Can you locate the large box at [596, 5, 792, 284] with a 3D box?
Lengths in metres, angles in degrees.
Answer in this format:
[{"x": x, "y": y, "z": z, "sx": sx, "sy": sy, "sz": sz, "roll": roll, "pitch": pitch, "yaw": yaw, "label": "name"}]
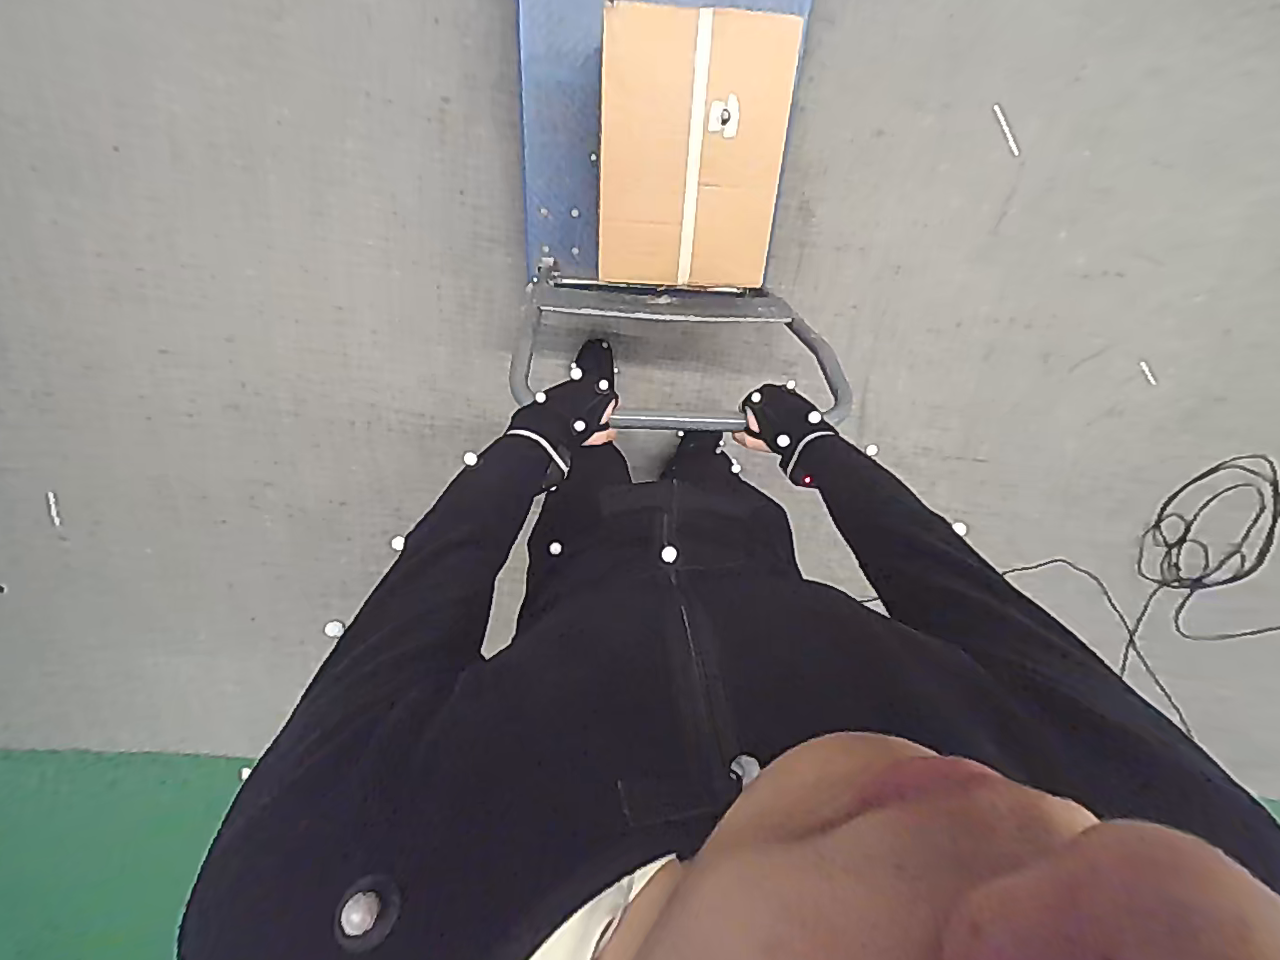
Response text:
[{"x": 0.072, "y": -0.617, "z": 1.055, "sx": 0.320, "sy": 0.320, "sz": 0.408, "roll": 0, "pitch": 119, "yaw": -5, "label": "large box"}]
